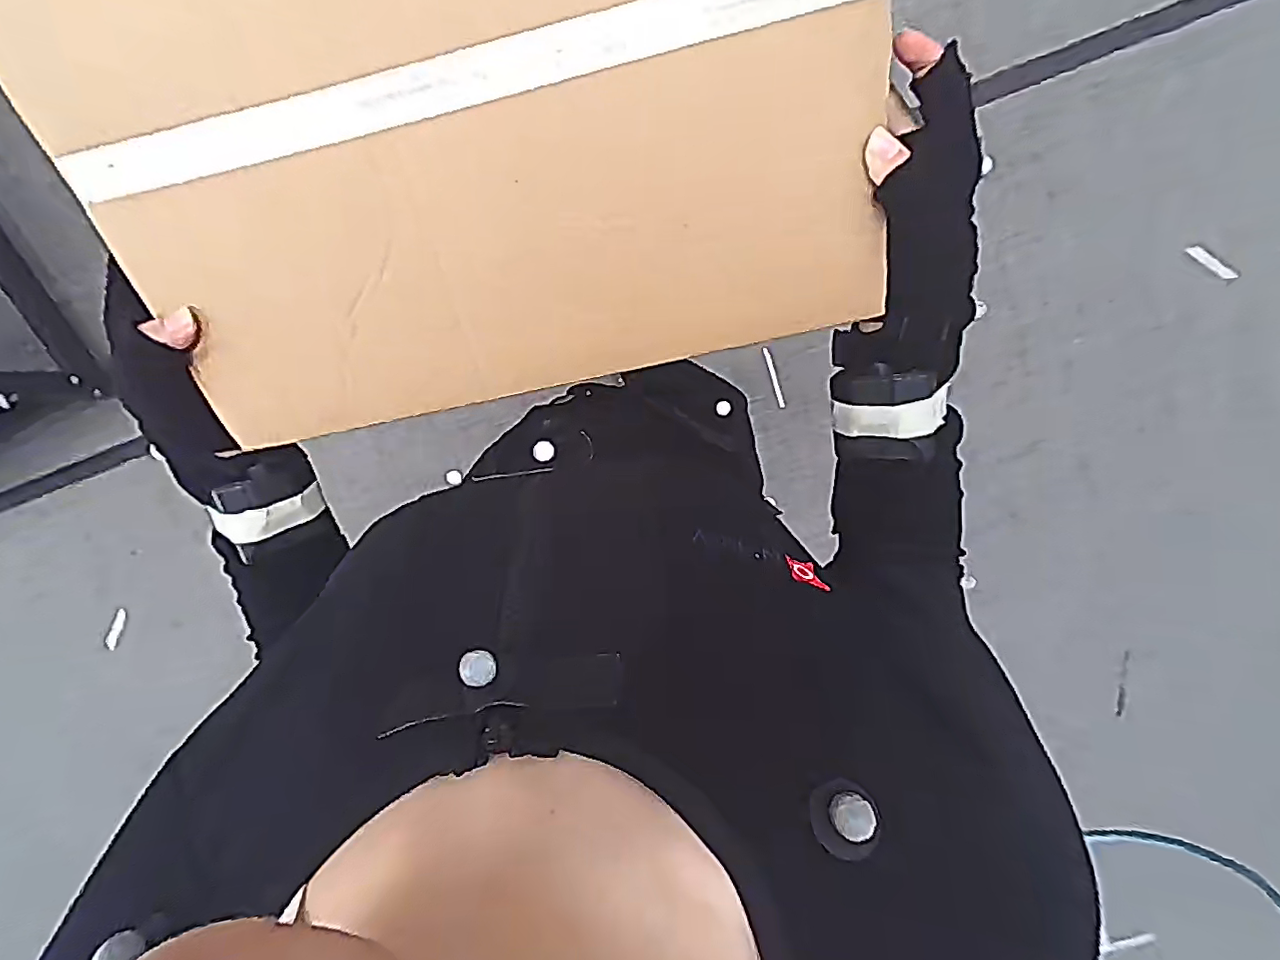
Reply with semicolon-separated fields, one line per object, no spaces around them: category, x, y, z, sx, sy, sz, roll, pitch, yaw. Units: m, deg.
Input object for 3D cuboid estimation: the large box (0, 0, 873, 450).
large box;-0.088;-0.262;0.396;0.408;0.320;0.320;-11;119;5
